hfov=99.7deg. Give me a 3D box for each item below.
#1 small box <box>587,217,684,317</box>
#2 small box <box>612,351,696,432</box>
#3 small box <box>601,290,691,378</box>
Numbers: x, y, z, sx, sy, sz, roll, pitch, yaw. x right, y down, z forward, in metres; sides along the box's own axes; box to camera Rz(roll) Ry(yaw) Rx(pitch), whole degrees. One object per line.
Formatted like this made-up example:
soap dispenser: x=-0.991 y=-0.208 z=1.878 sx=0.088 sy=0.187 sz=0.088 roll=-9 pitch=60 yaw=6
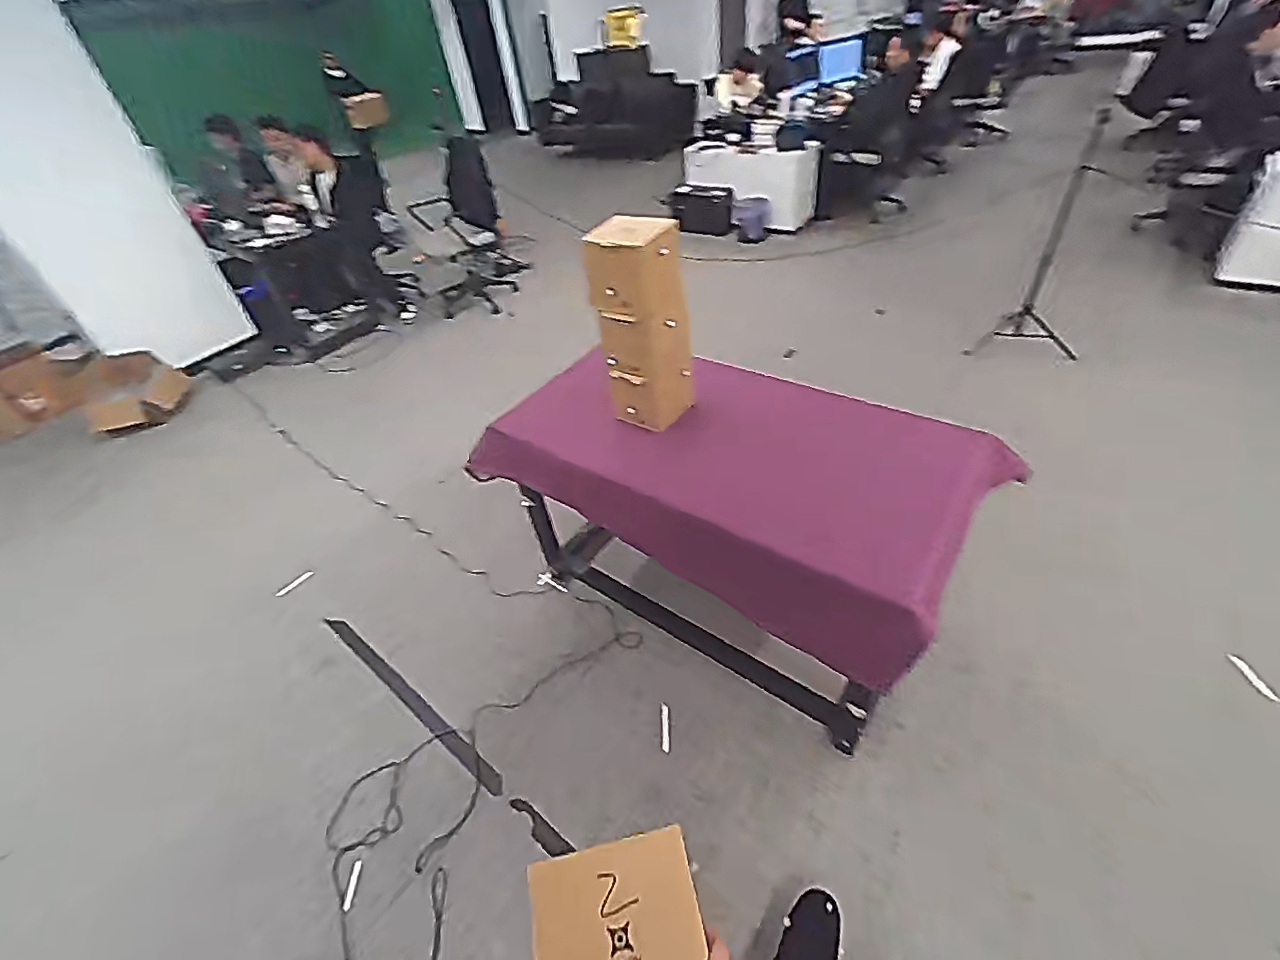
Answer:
small box: x=-0.004 y=-0.513 z=1.300 sx=0.168 sy=0.176 sz=0.179 roll=17 pitch=48 yaw=25
small box: x=0.044 y=-0.263 z=1.506 sx=0.168 sy=0.176 sz=0.179 roll=23 pitch=51 yaw=31
small box: x=0.025 y=-0.385 z=1.399 sx=0.168 sy=0.176 sz=0.179 roll=20 pitch=48 yaw=28
